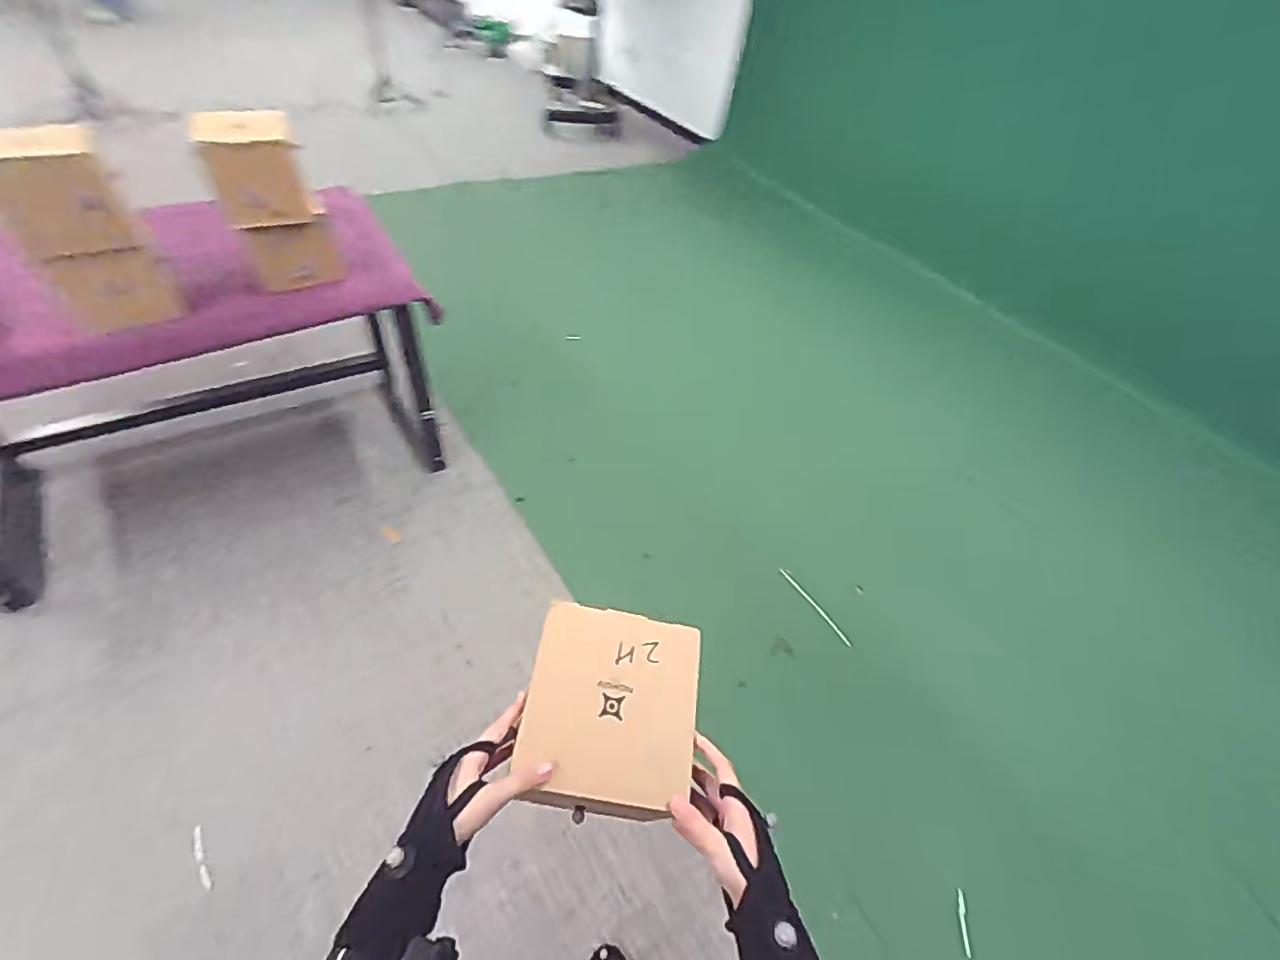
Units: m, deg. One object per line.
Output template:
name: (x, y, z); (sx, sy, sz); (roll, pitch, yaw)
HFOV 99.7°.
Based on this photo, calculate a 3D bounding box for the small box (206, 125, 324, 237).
small box: (-0.817, -0.658, 1.188); (0.168, 0.176, 0.179); (-17, 53, -21)

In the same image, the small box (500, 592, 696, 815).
small box: (-0.045, 0.247, 0.583); (0.168, 0.176, 0.179); (13, 53, -6)

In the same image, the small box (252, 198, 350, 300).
small box: (-0.834, -0.566, 1.324); (0.179, 0.176, 0.168); (-23, 54, -27)
